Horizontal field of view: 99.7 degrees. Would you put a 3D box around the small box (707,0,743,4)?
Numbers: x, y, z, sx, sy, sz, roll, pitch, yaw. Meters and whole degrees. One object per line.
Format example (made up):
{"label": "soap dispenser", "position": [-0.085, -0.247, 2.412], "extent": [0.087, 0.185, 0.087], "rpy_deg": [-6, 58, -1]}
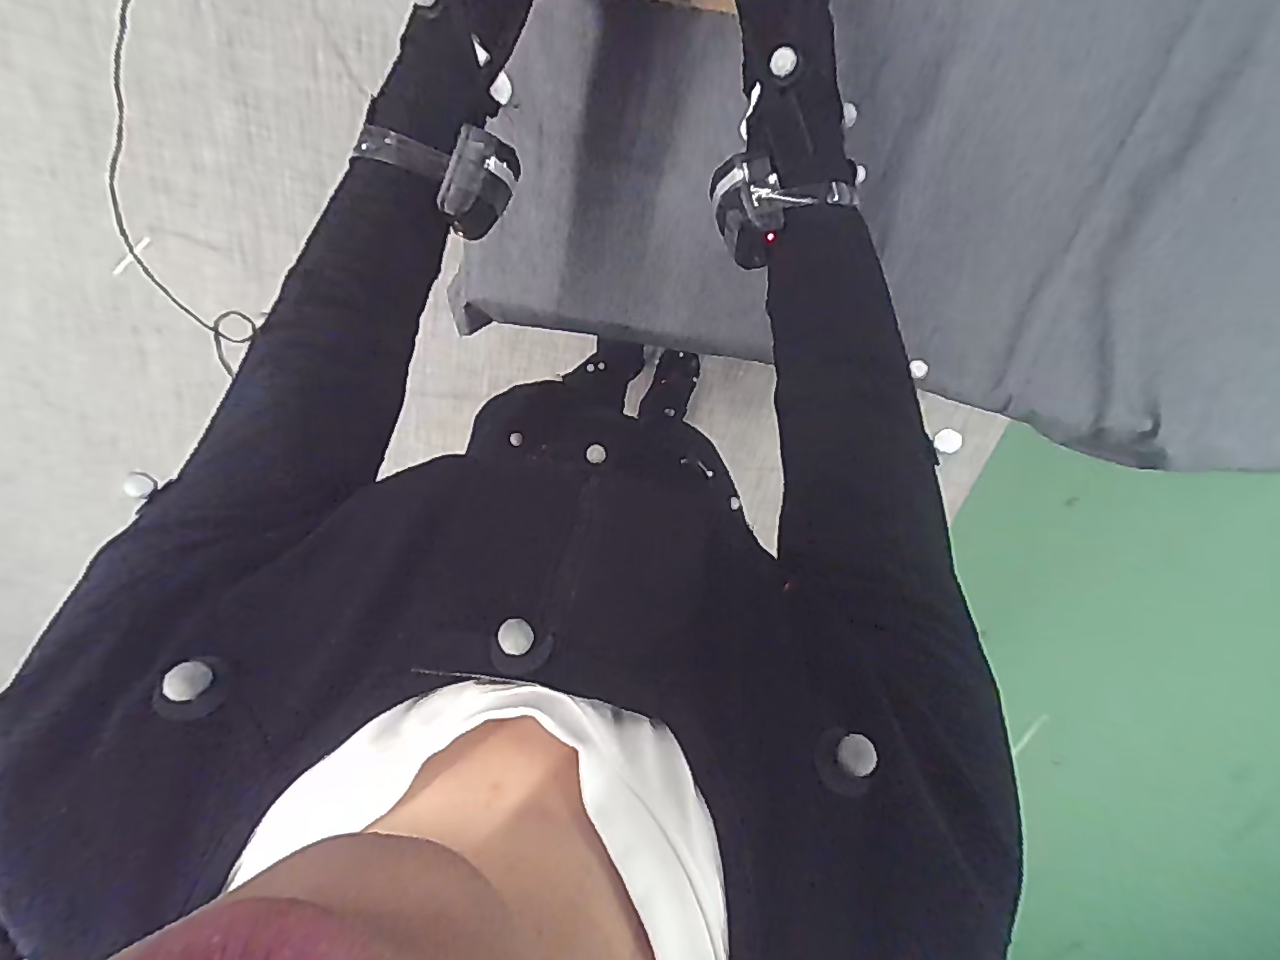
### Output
{"label": "small box", "position": [0.026, -0.481, 0.386], "extent": [0.168, 0.176, 0.179], "rpy_deg": [7, 118, -1]}
